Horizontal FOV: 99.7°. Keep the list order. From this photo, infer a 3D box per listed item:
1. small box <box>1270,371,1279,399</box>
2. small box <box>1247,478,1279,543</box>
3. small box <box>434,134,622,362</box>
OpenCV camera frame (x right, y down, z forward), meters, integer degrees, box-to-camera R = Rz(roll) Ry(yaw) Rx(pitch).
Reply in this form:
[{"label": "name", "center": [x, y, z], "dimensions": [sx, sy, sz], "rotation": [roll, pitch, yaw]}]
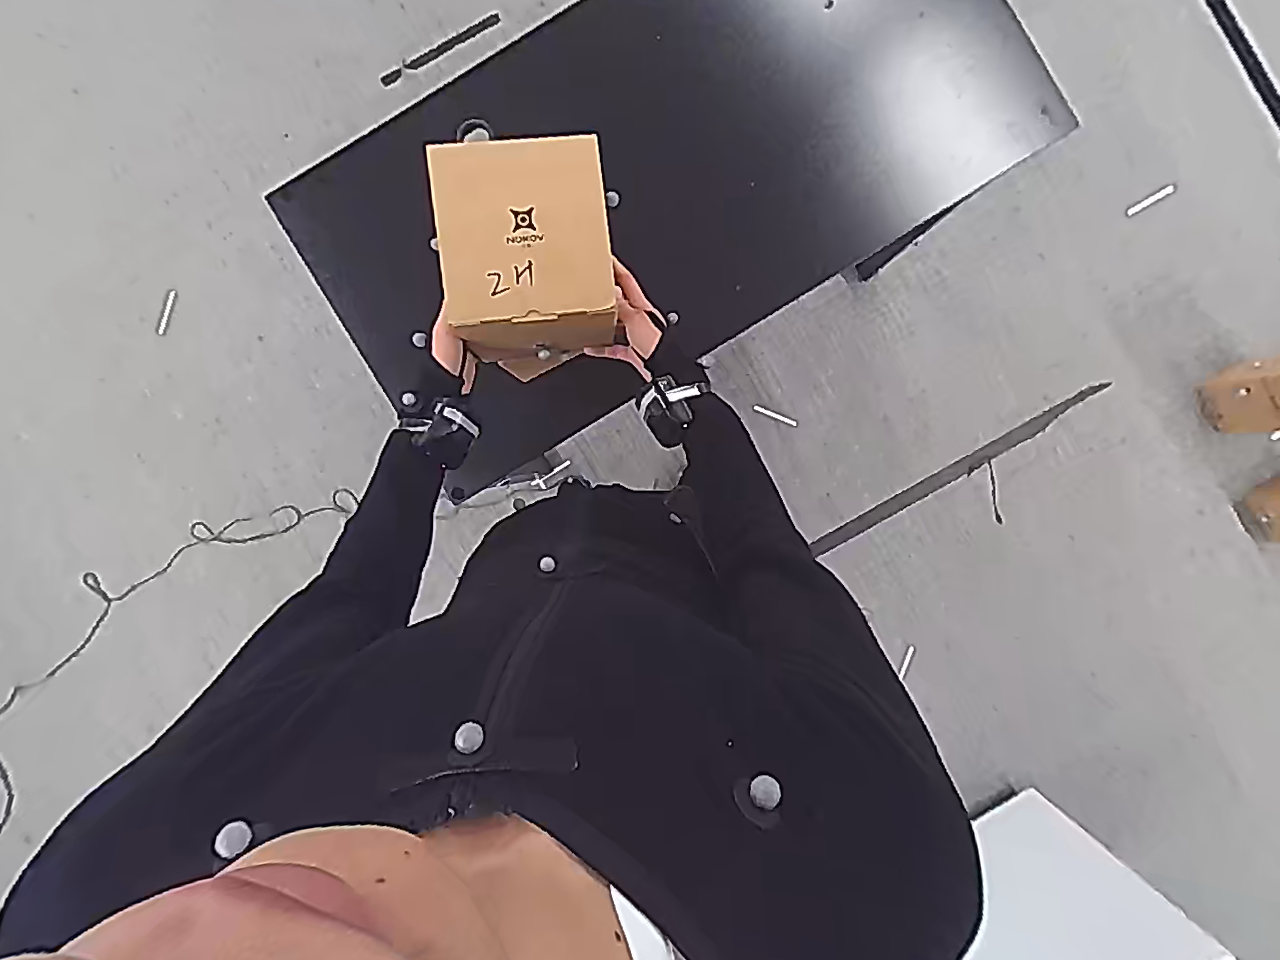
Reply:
[{"label": "small box", "center": [1.776, -0.236, 1.360], "dimensions": [0.168, 0.176, 0.179], "rotation": [-31, 93, 1]}, {"label": "small box", "center": [1.923, 0.080, 1.537], "dimensions": [0.179, 0.176, 0.168], "rotation": [-32, 90, 2]}, {"label": "small box", "center": [-0.114, -0.239, 0.593], "dimensions": [0.168, 0.176, 0.179], "rotation": [-6, 90, -5]}]
